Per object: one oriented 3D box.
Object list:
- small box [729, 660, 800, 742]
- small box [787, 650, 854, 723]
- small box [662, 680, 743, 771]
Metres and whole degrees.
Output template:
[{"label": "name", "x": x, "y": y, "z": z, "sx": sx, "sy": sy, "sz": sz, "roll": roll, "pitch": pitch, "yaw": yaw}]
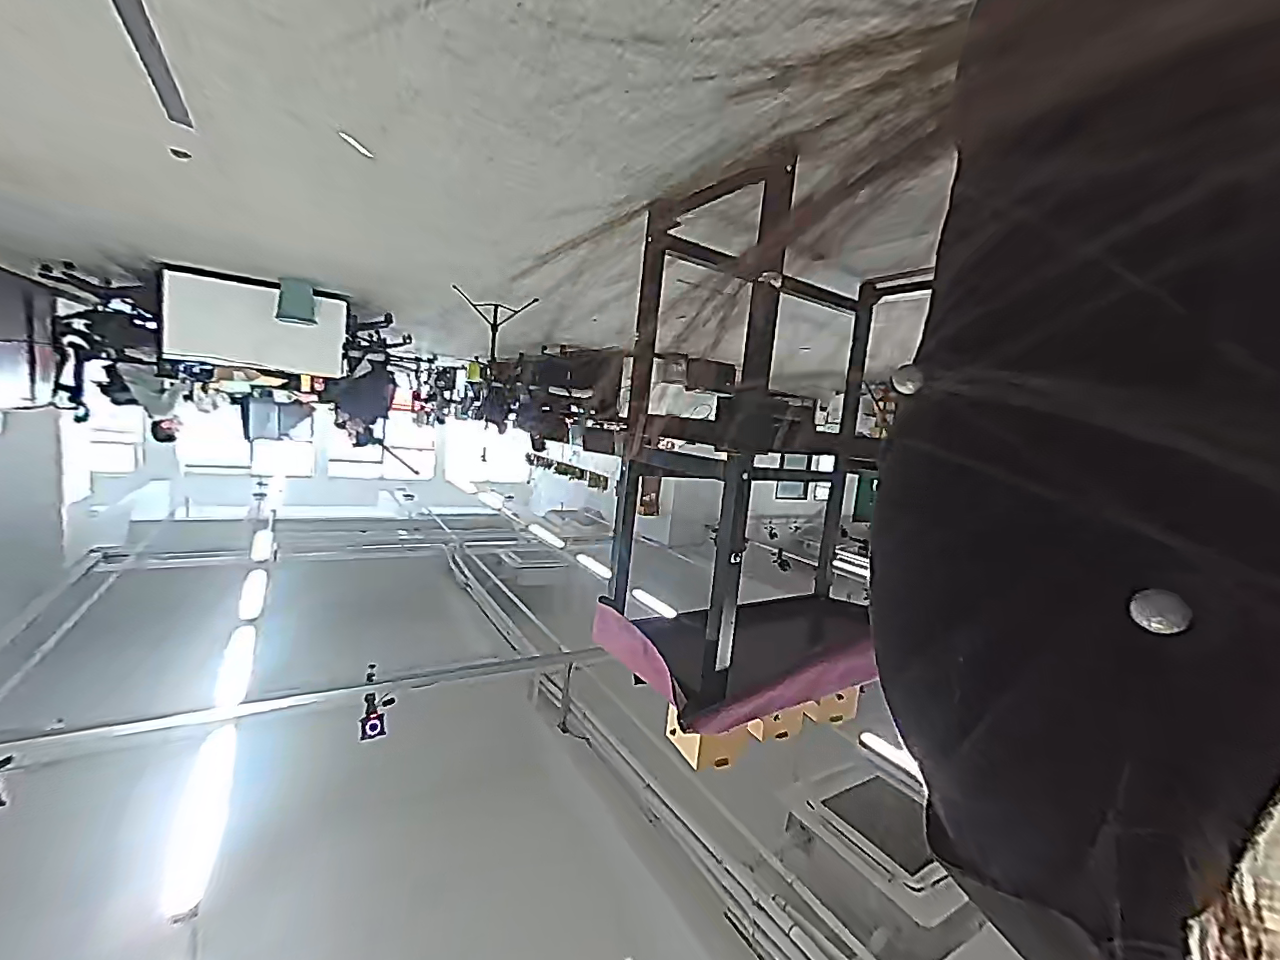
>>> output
[{"label": "small box", "x": 0.396, "y": 0.706, "z": 1.743, "sx": 0.168, "sy": 0.176, "sz": 0.179, "roll": 2, "pitch": -172, "yaw": -30}, {"label": "small box", "x": 0.626, "y": 0.713, "z": 1.886, "sx": 0.168, "sy": 0.176, "sz": 0.179, "roll": 2, "pitch": -173, "yaw": -24}, {"label": "small box", "x": 0.185, "y": 0.708, "z": 1.584, "sx": 0.168, "sy": 0.176, "sz": 0.179, "roll": 1, "pitch": -171, "yaw": -27}]
